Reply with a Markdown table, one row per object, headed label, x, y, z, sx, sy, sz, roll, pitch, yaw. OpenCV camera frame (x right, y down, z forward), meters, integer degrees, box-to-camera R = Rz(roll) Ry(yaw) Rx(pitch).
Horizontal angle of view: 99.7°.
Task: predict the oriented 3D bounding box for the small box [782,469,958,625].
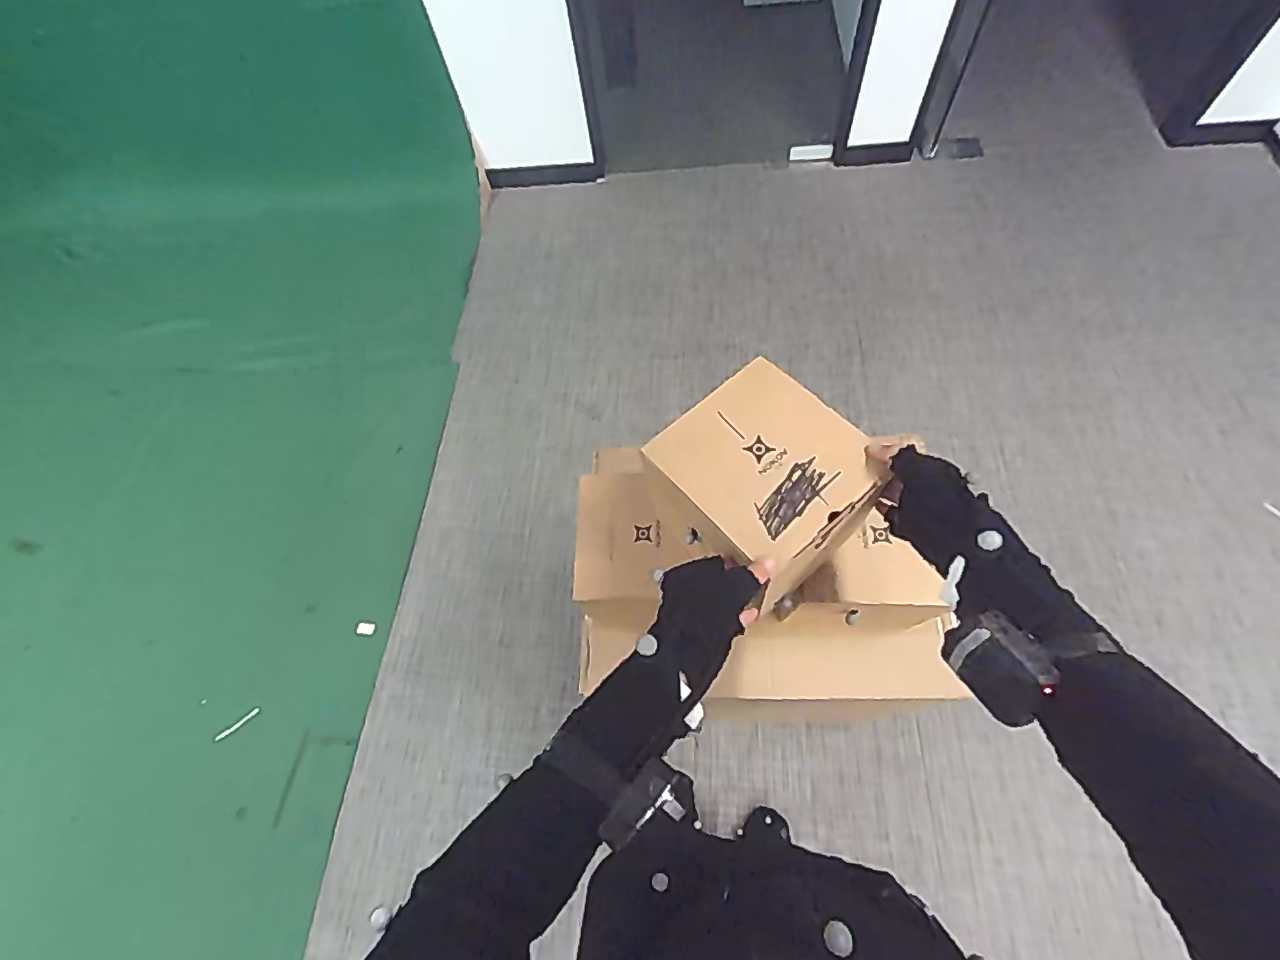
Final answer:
| label | x | y | z | sx | sy | sz | roll | pitch | yaw |
| --- | --- | --- | --- | --- | --- | --- | --- | --- | --- |
| small box | 0.281 | 0.095 | 0.712 | 0.179 | 0.176 | 0.168 | 0 | 67 | 7 |

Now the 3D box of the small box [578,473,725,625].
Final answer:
| label | x | y | z | sx | sy | sz | roll | pitch | yaw |
| --- | --- | --- | --- | --- | --- | --- | --- | --- | --- |
| small box | 0.021 | 0.099 | 0.739 | 0.179 | 0.176 | 0.168 | -3 | 64 | 6 |

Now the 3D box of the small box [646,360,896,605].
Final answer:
| label | x | y | z | sx | sy | sz | roll | pitch | yaw |
| --- | --- | --- | --- | --- | --- | --- | --- | --- | --- |
| small box | 0.130 | 0.014 | 0.582 | 0.168 | 0.176 | 0.179 | -38 | 65 | -12 |
